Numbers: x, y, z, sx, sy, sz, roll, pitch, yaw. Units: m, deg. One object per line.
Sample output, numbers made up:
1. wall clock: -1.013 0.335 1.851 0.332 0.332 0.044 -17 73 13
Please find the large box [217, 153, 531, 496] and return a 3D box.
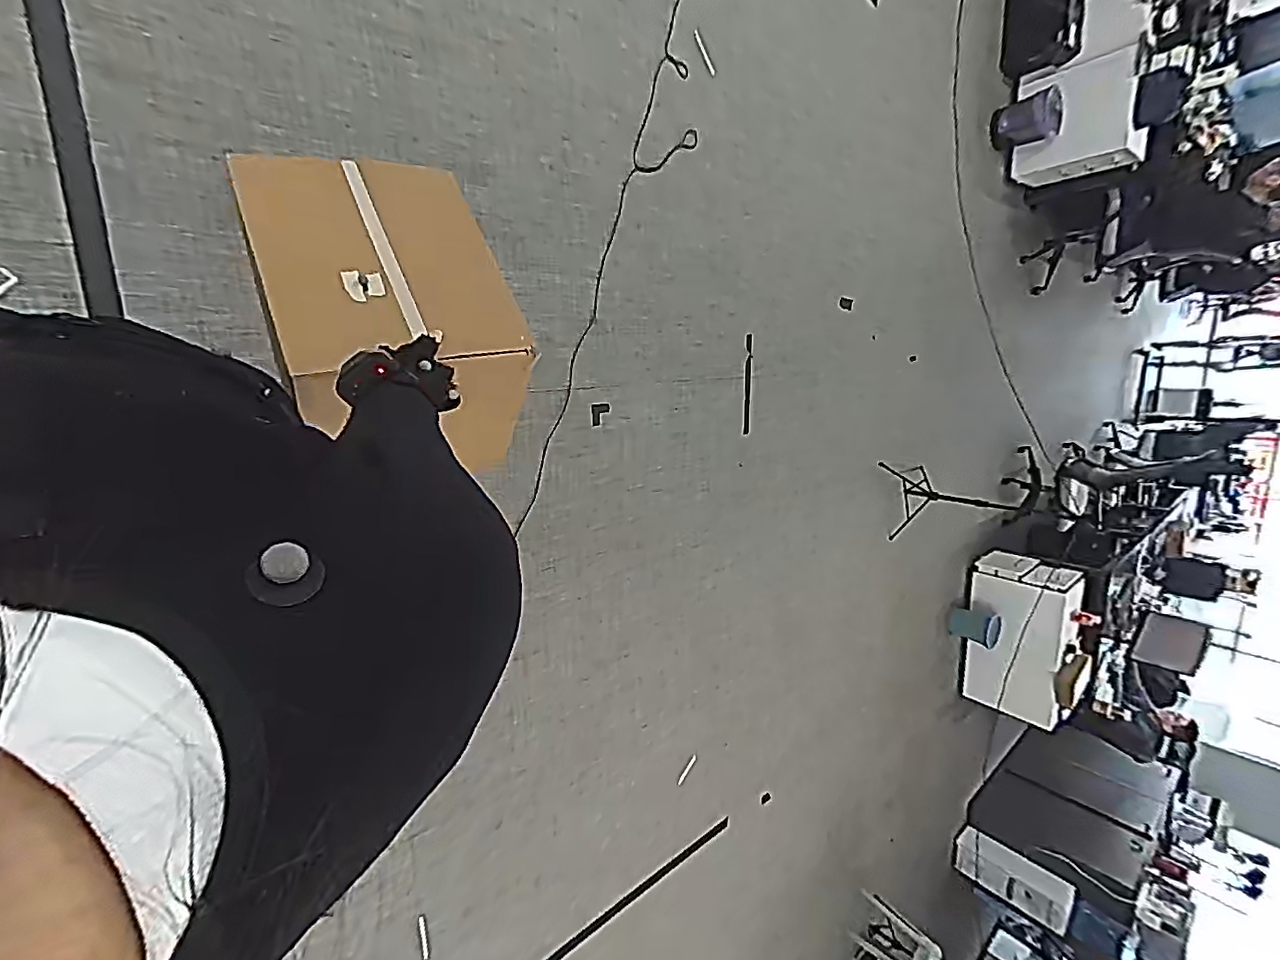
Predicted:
1. large box: -0.423 -0.244 0.876 0.320 0.320 0.408 -16 69 -30
